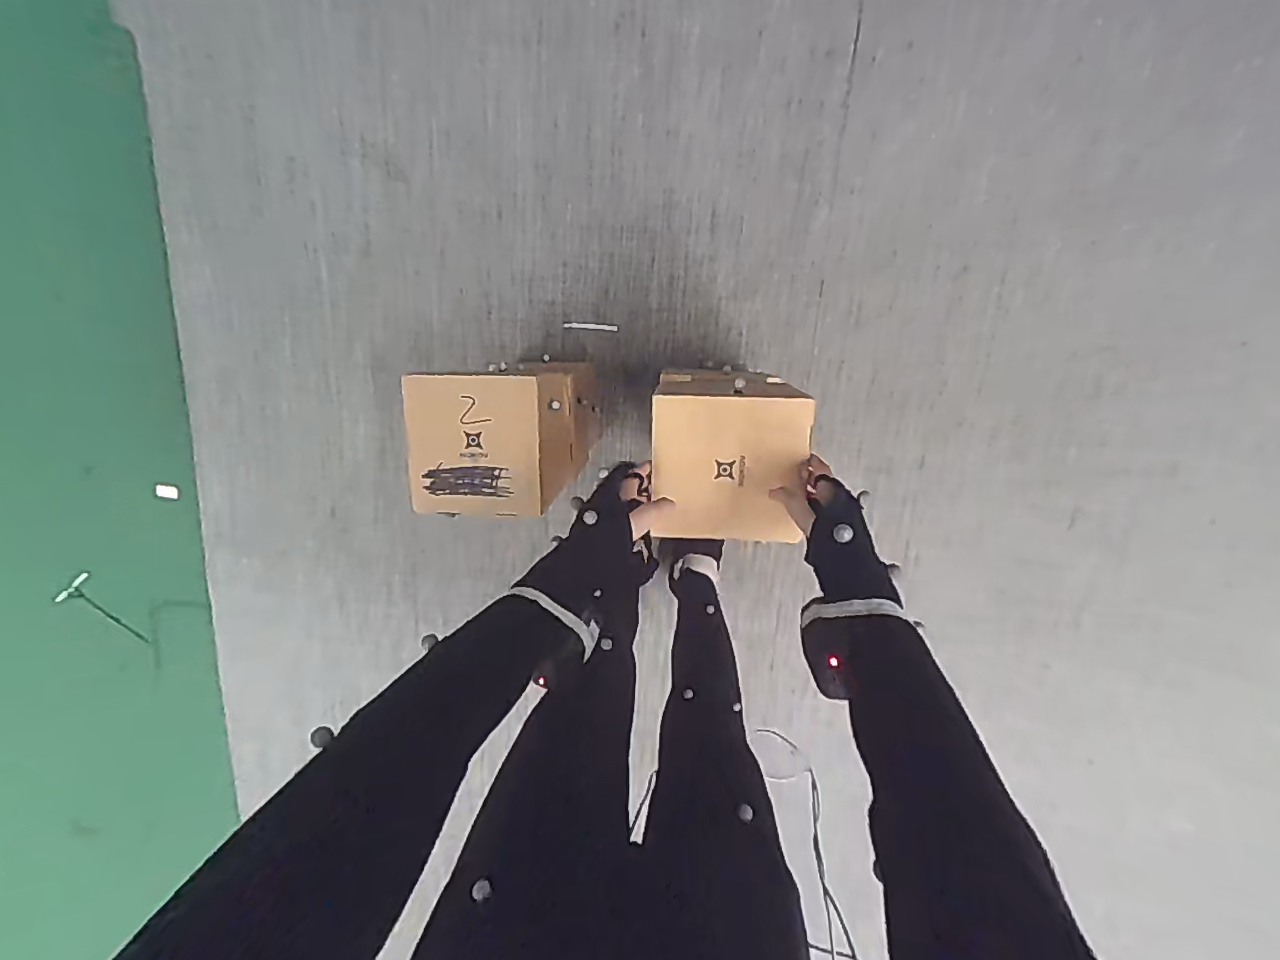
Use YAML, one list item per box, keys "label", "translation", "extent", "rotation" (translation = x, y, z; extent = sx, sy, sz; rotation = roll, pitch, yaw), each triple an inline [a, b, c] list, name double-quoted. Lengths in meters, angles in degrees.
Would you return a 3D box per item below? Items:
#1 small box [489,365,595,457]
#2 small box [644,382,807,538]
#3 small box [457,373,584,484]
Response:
- label: "small box"
  translation: [-0.184, -0.141, 1.069]
  extent: [0.179, 0.176, 0.168]
  rotation: [1, 103, 3]
- label: "small box"
  translation: [0.101, -0.035, 0.694]
  extent: [0.179, 0.176, 0.168]
  rotation: [3, 104, 4]
- label: "small box"
  translation: [-0.189, -0.093, 0.913]
  extent: [0.179, 0.176, 0.168]
  rotation: [1, 103, 4]
